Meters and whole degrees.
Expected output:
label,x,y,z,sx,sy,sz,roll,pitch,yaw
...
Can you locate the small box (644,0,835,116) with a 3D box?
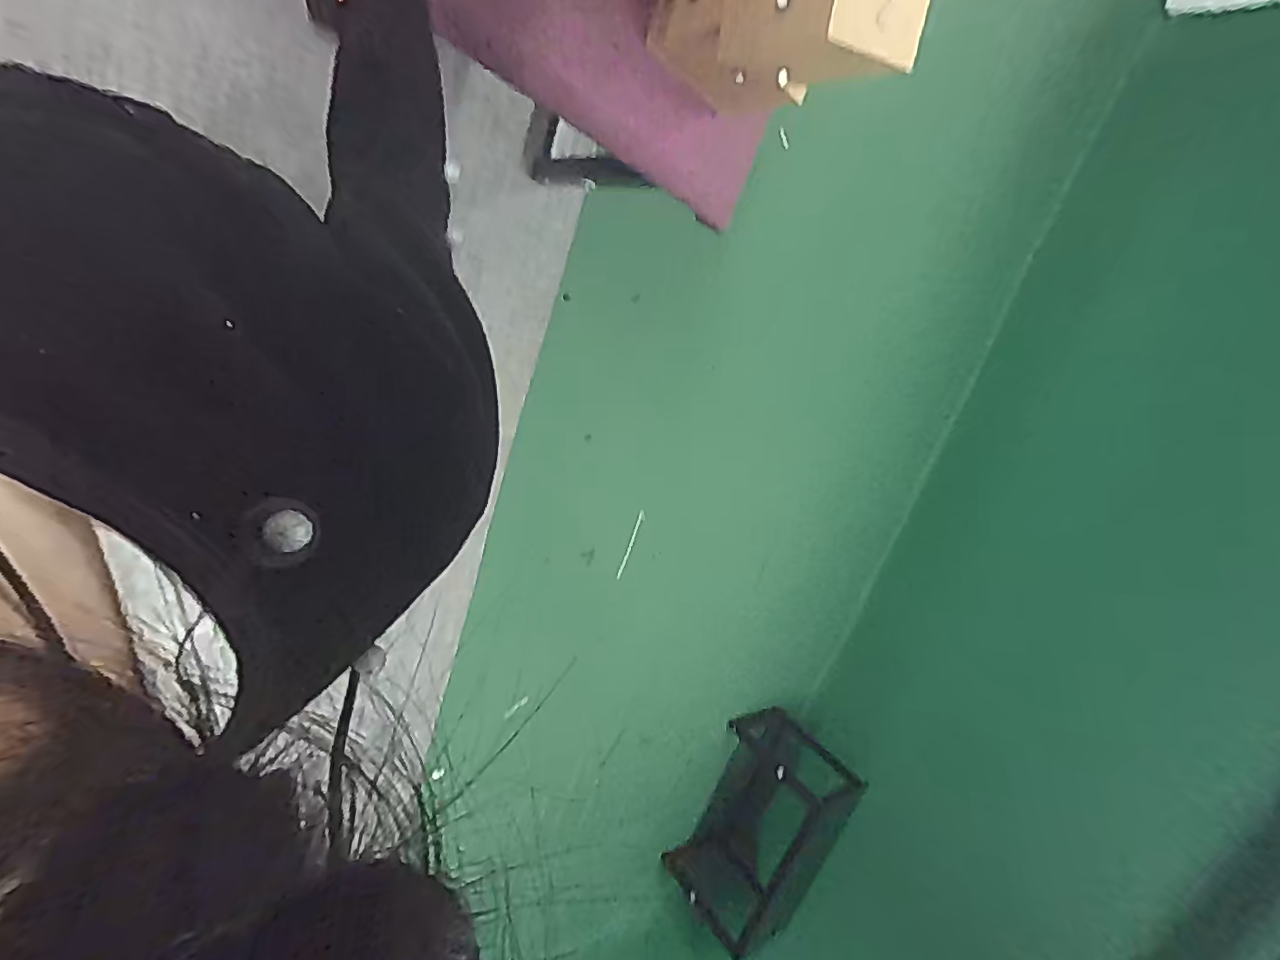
label,x,y,z,sx,sy,sz,roll,pitch,yaw
small box,0.134,-0.641,0.755,0.179,0.176,0.168,10,106,-43
